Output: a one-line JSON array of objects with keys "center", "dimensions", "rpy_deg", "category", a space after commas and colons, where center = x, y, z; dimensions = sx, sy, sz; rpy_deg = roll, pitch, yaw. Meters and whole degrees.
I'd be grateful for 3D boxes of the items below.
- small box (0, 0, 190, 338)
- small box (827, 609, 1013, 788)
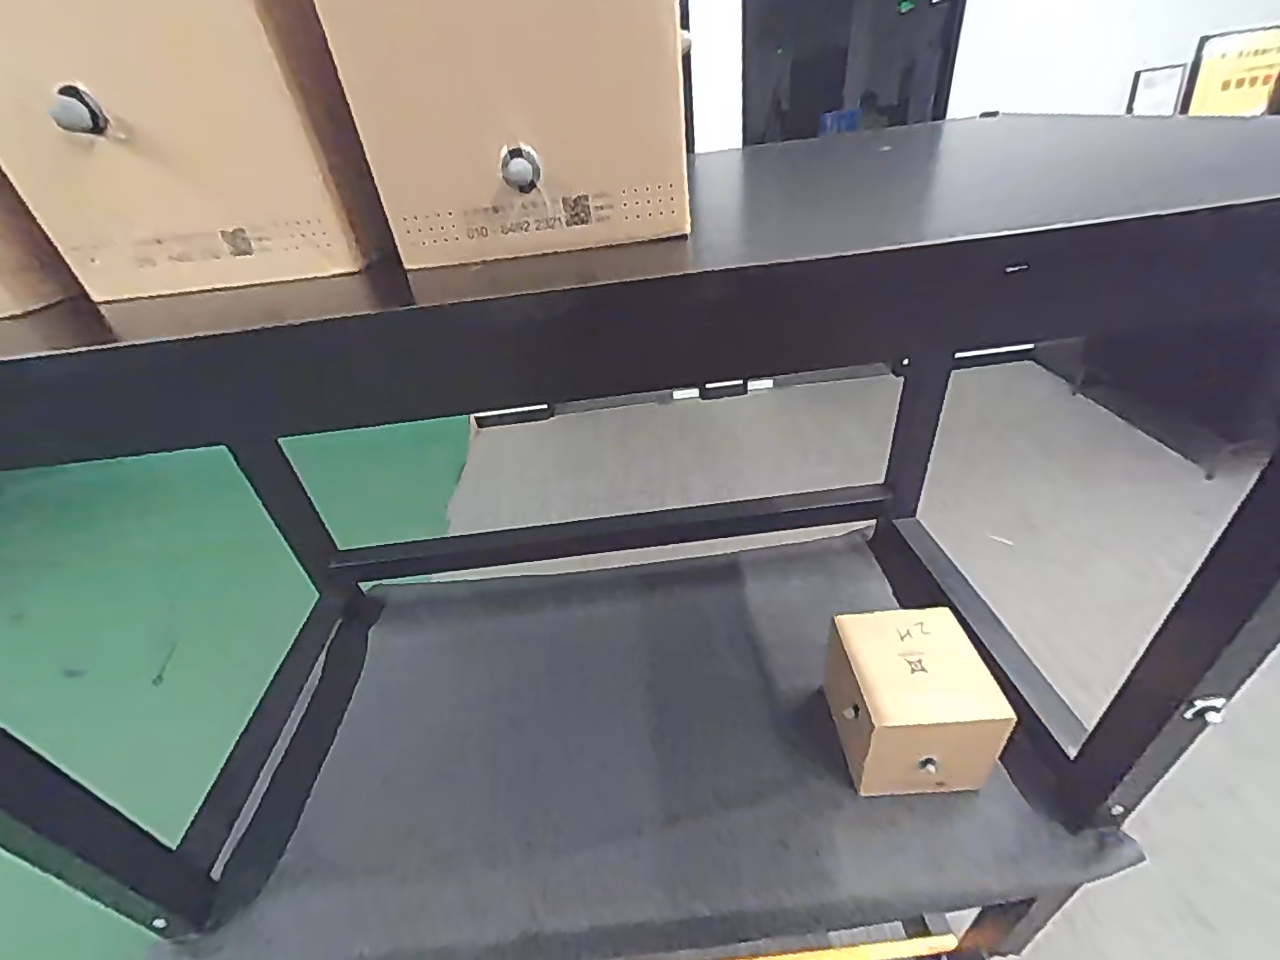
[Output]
[{"center": [-0.451, -0.196, 0.350], "dimensions": [0.168, 0.176, 0.179], "rpy_deg": [-6, 35, 2], "category": "small box"}, {"center": [0.369, 0.306, 0.752], "dimensions": [0.168, 0.176, 0.179], "rpy_deg": [-5, 34, 3], "category": "small box"}]
